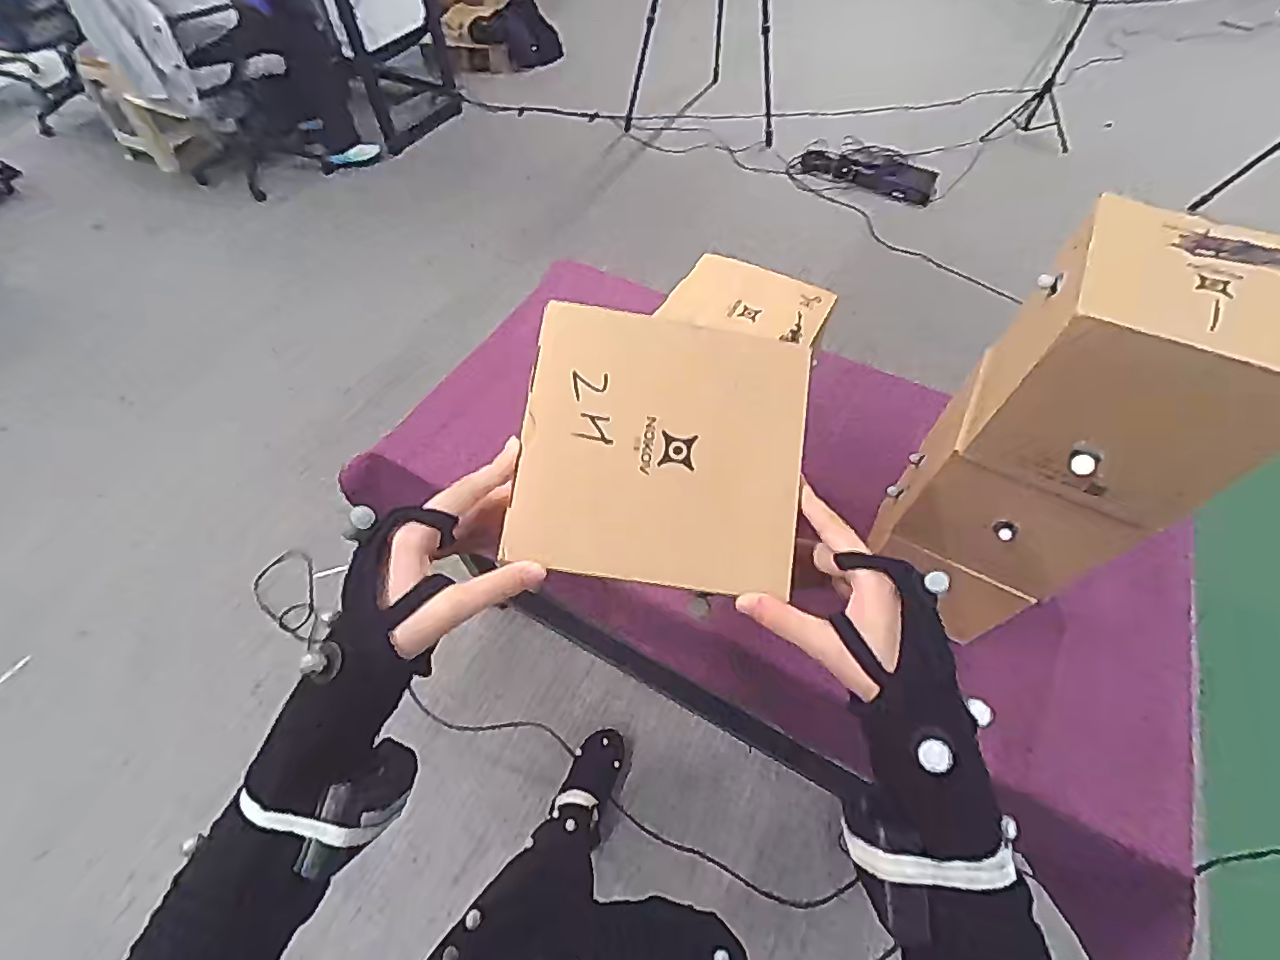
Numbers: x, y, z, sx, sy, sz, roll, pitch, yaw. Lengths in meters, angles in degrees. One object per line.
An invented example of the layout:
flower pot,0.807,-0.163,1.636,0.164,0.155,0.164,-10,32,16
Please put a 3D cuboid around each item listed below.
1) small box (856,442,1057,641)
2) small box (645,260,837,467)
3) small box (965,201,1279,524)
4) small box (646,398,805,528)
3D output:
small box,0.414,0.089,0.731,0.168,0.176,0.179,26,59,17
small box,0.119,-0.144,0.690,0.179,0.176,0.168,25,59,16
small box,0.410,-0.097,0.459,0.168,0.176,0.179,25,60,17
small box,0.123,-0.051,0.825,0.179,0.176,0.168,25,58,16
